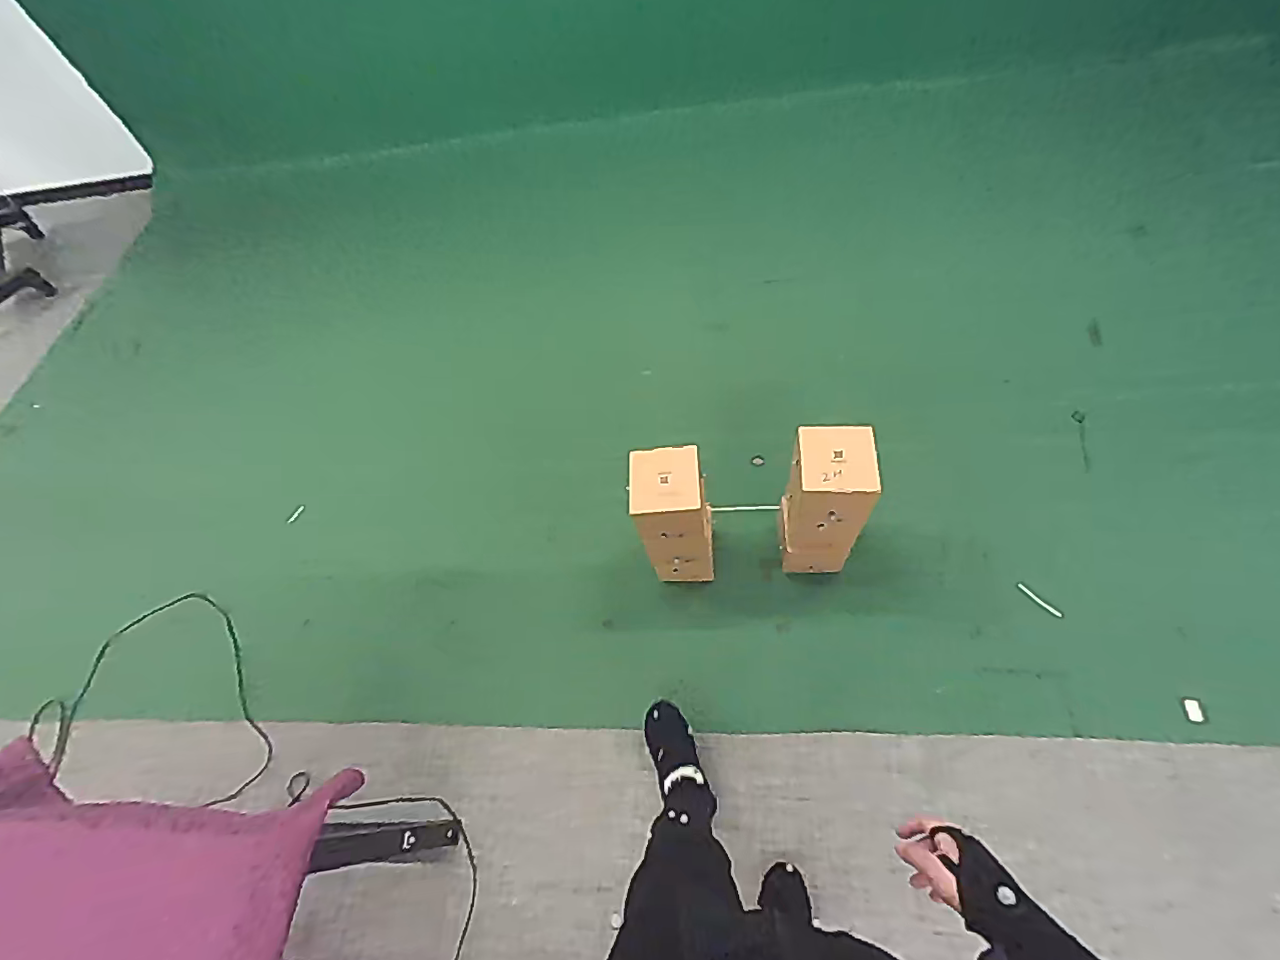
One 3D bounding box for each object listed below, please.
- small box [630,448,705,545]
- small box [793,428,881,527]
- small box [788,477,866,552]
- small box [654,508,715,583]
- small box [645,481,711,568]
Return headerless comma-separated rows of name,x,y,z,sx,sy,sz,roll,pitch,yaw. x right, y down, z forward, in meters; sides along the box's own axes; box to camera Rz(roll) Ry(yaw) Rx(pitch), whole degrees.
small box,0.071,0.043,1.323,0.168,0.176,0.179,-5,59,8
small box,0.457,-0.004,1.280,0.168,0.176,0.179,1,61,10
small box,0.483,0.074,1.423,0.168,0.176,0.179,1,60,10
small box,0.136,0.199,1.603,0.168,0.176,0.179,-2,59,9
small box,0.102,0.123,1.461,0.168,0.176,0.179,-5,60,8
